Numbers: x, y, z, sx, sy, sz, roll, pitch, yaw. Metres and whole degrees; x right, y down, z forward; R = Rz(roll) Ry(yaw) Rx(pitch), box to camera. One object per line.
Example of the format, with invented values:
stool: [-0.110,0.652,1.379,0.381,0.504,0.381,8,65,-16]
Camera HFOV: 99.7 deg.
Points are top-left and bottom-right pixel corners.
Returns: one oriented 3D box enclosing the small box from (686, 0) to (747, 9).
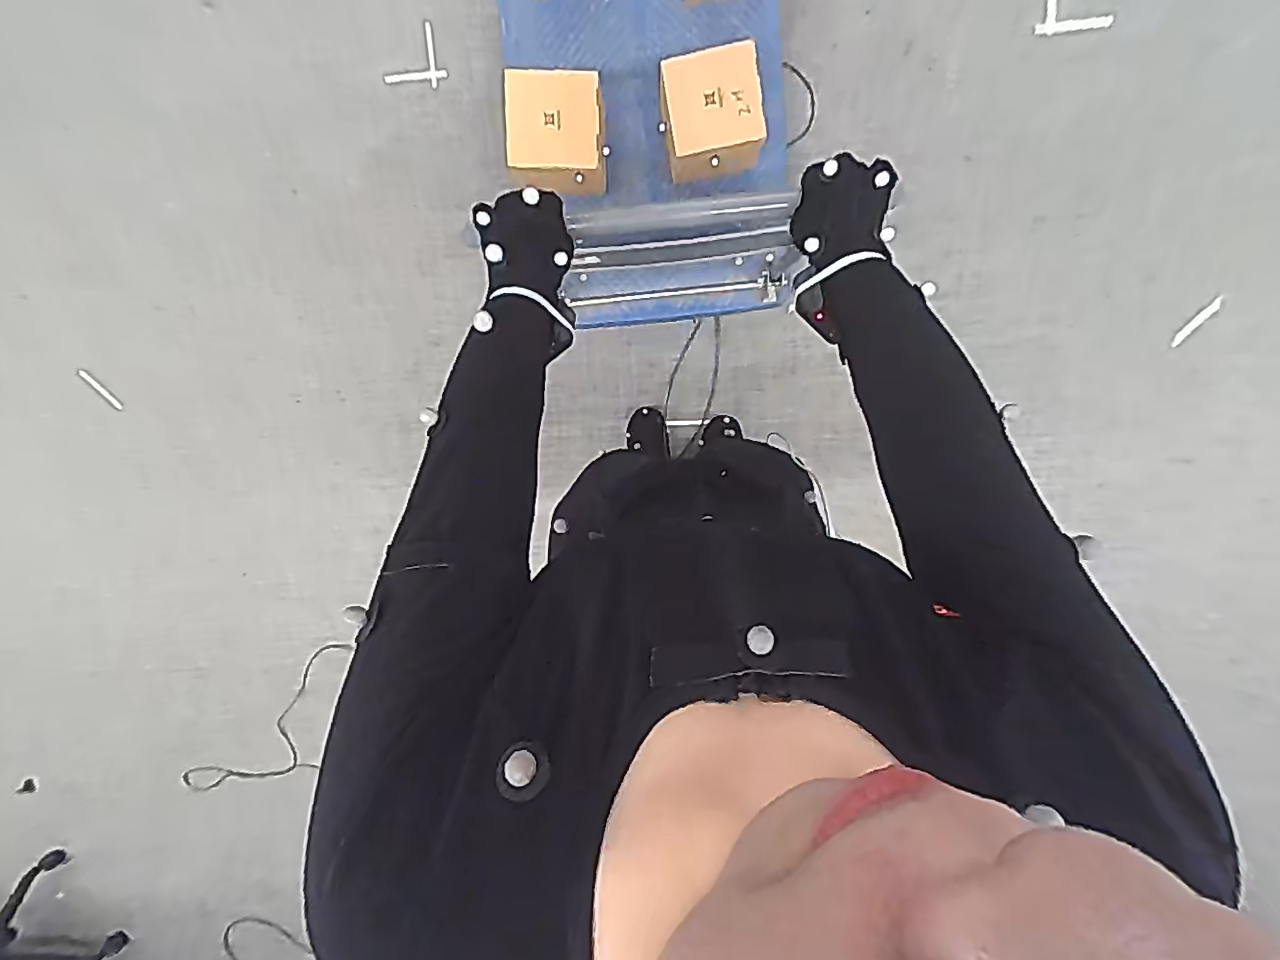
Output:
small box: [0.159,-1.050,1.019,0.168,0.176,0.179,-8,103,3]

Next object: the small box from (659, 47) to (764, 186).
small box: [0.138,-0.717,1.089,0.179,0.176,0.168,-11,101,4]

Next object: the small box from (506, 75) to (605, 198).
small box: [-0.164,-0.689,1.102,0.179,0.176,0.168,0,101,0]
